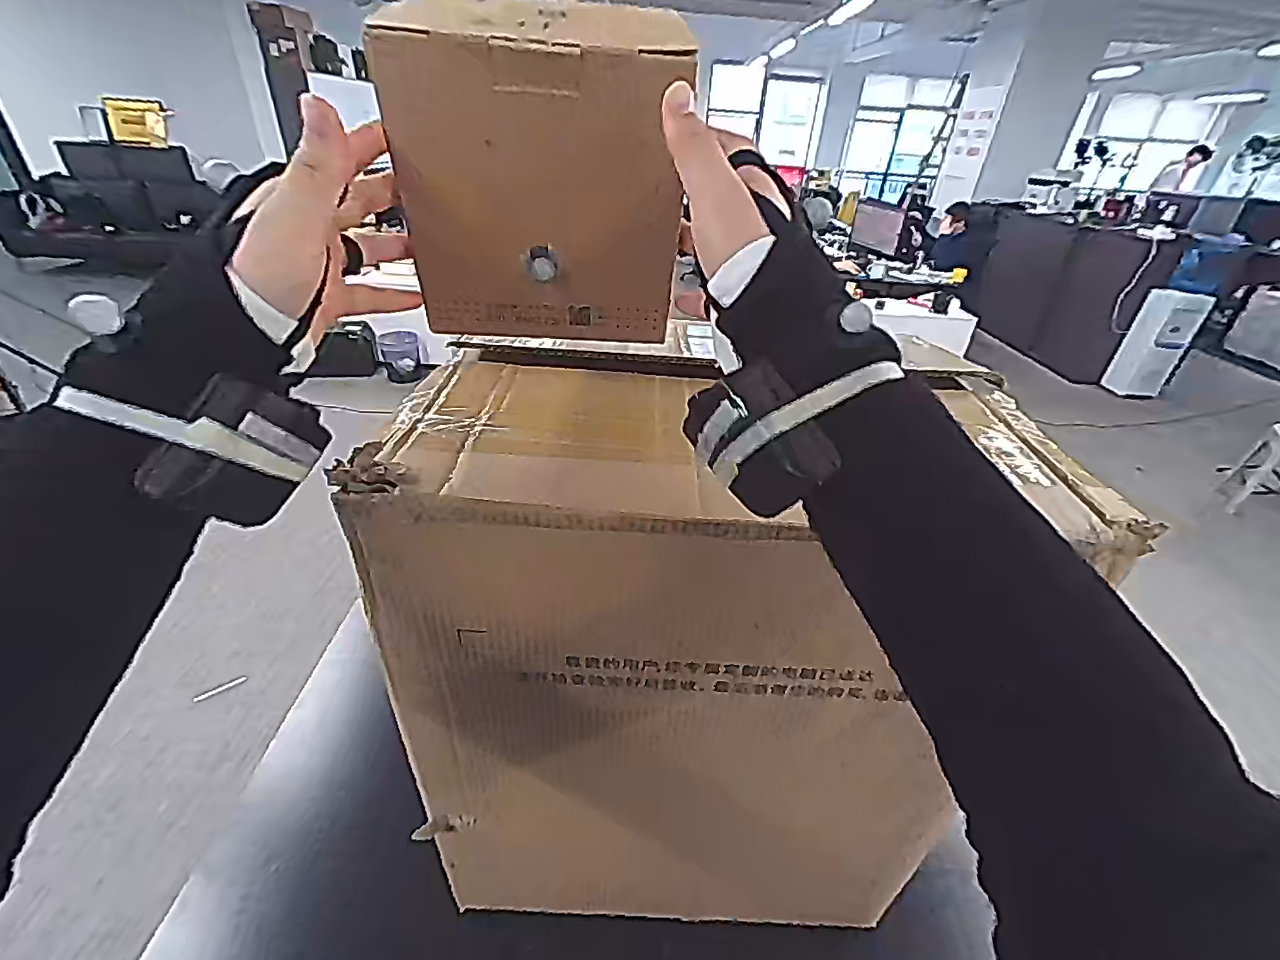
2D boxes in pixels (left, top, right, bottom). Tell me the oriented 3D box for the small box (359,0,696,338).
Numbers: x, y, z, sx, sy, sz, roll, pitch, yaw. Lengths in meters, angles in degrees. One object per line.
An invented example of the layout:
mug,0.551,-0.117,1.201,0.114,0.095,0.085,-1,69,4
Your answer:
small box,-0.061,-0.220,0.375,0.168,0.176,0.179,1,47,-4
